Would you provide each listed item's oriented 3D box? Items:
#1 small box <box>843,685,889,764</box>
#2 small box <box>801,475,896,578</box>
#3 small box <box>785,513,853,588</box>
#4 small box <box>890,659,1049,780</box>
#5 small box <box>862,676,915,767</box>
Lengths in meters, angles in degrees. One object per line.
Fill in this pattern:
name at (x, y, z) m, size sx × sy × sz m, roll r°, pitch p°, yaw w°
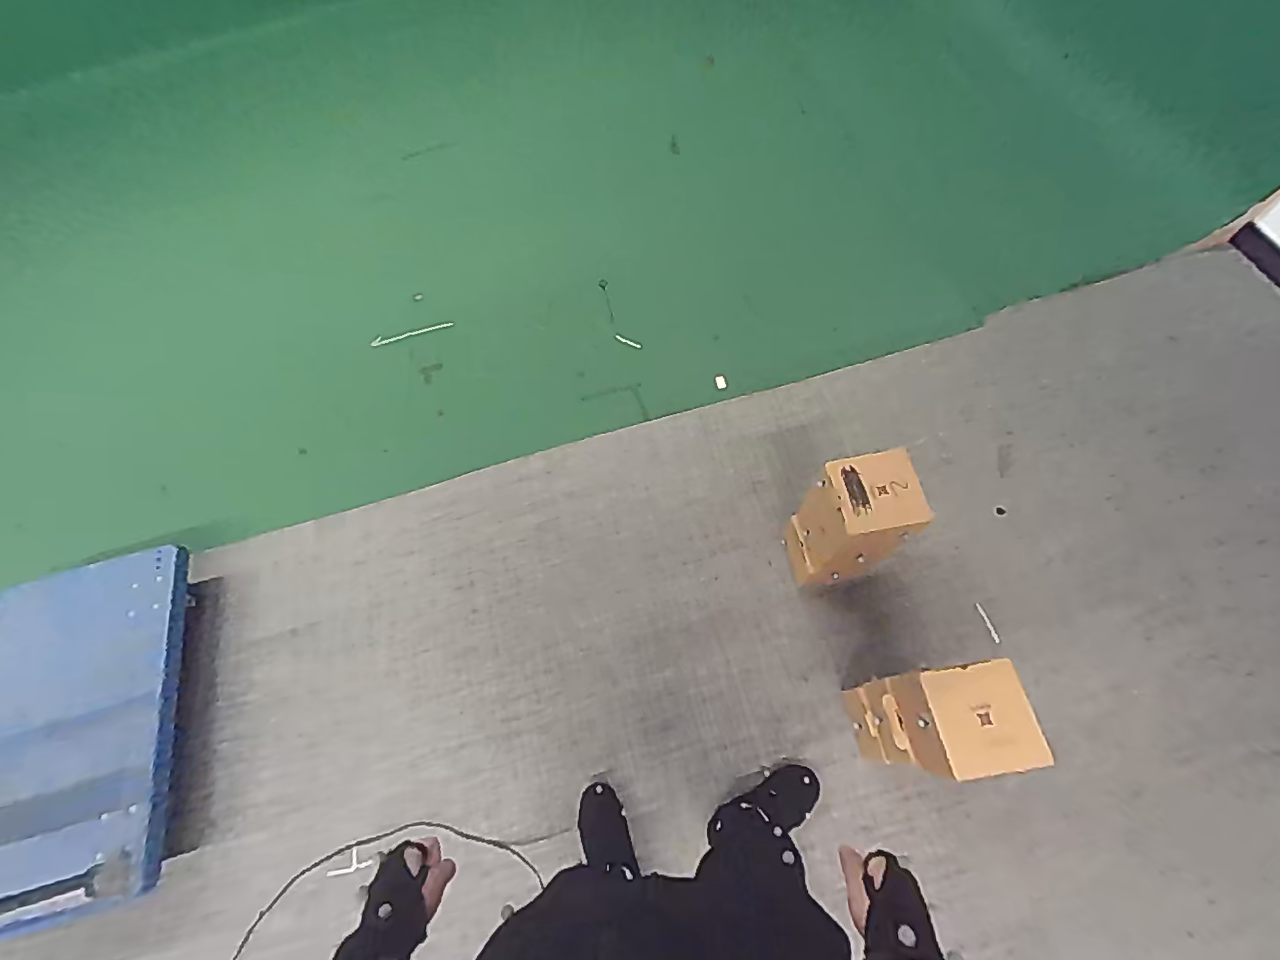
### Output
small box at (0.605, 0.573, 1.296) m, size 0.179 × 0.176 × 0.168 m, roll -13°, pitch 65°, yaw 0°
small box at (0.511, 0.119, 1.343) m, size 0.168 × 0.176 × 0.179 m, roll 18°, pitch 68°, yaw 15°
small box at (0.506, 0.189, 1.482) m, size 0.179 × 0.176 × 0.168 m, roll -10°, pitch 65°, yaw 0°
small box at (0.588, 0.441, 0.997) m, size 0.168 × 0.176 × 0.179 m, roll -10°, pitch 65°, yaw 2°
small box at (0.601, 0.502, 1.148) m, size 0.179 × 0.176 × 0.168 m, roll -9°, pitch 64°, yaw 1°
